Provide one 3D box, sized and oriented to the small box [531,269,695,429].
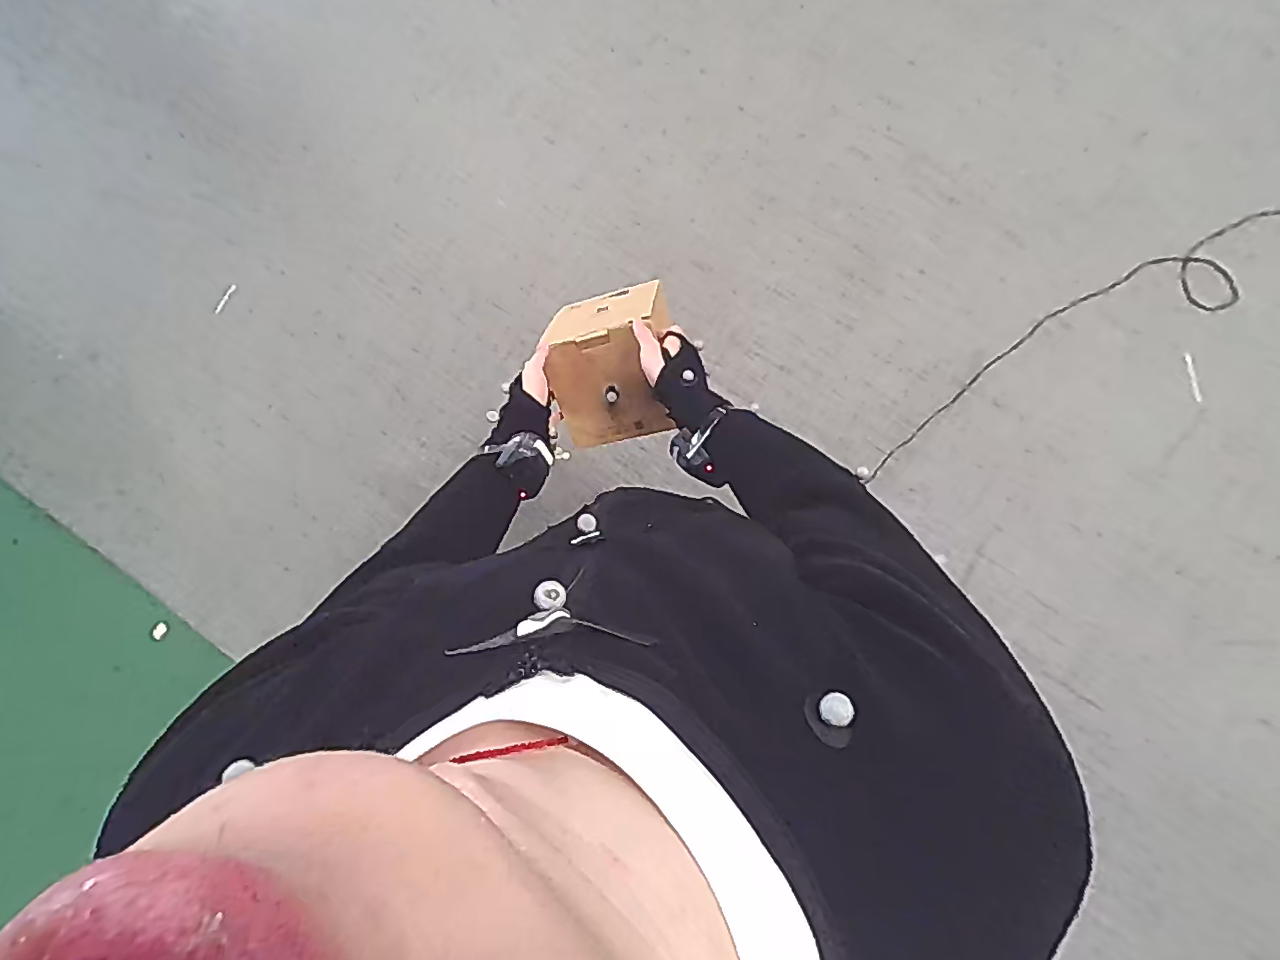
[{"bbox_3d":[-0.039,-0.201,0.823,0.179,0.168,0.176,-27,123,-11],"label":"small box"}]
